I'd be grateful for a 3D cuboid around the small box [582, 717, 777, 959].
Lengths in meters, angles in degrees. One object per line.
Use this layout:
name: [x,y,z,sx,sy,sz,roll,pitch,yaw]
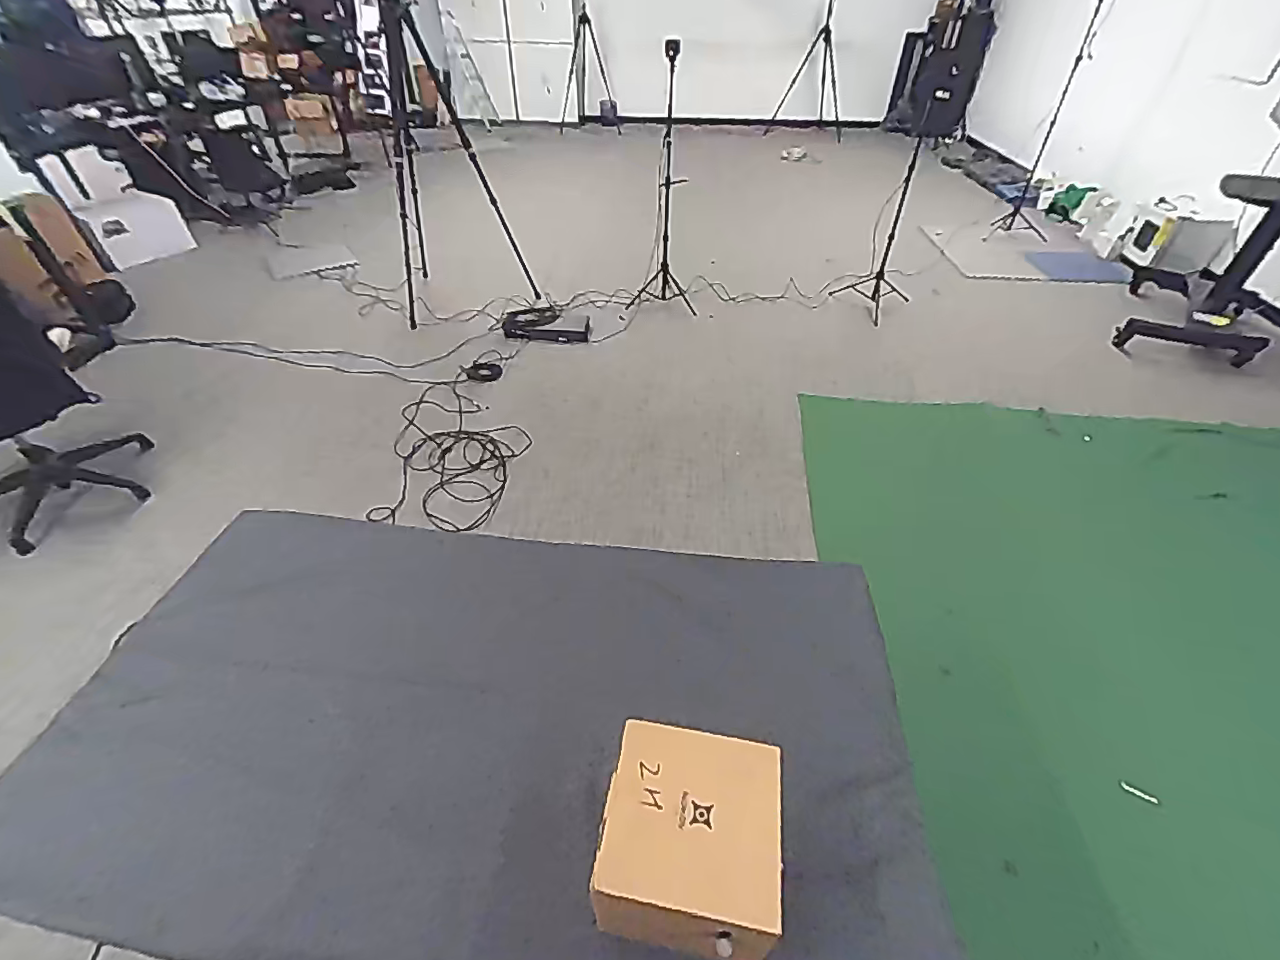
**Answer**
small box: [0.047,0.390,0.589,0.179,0.176,0.168,7,40,9]
